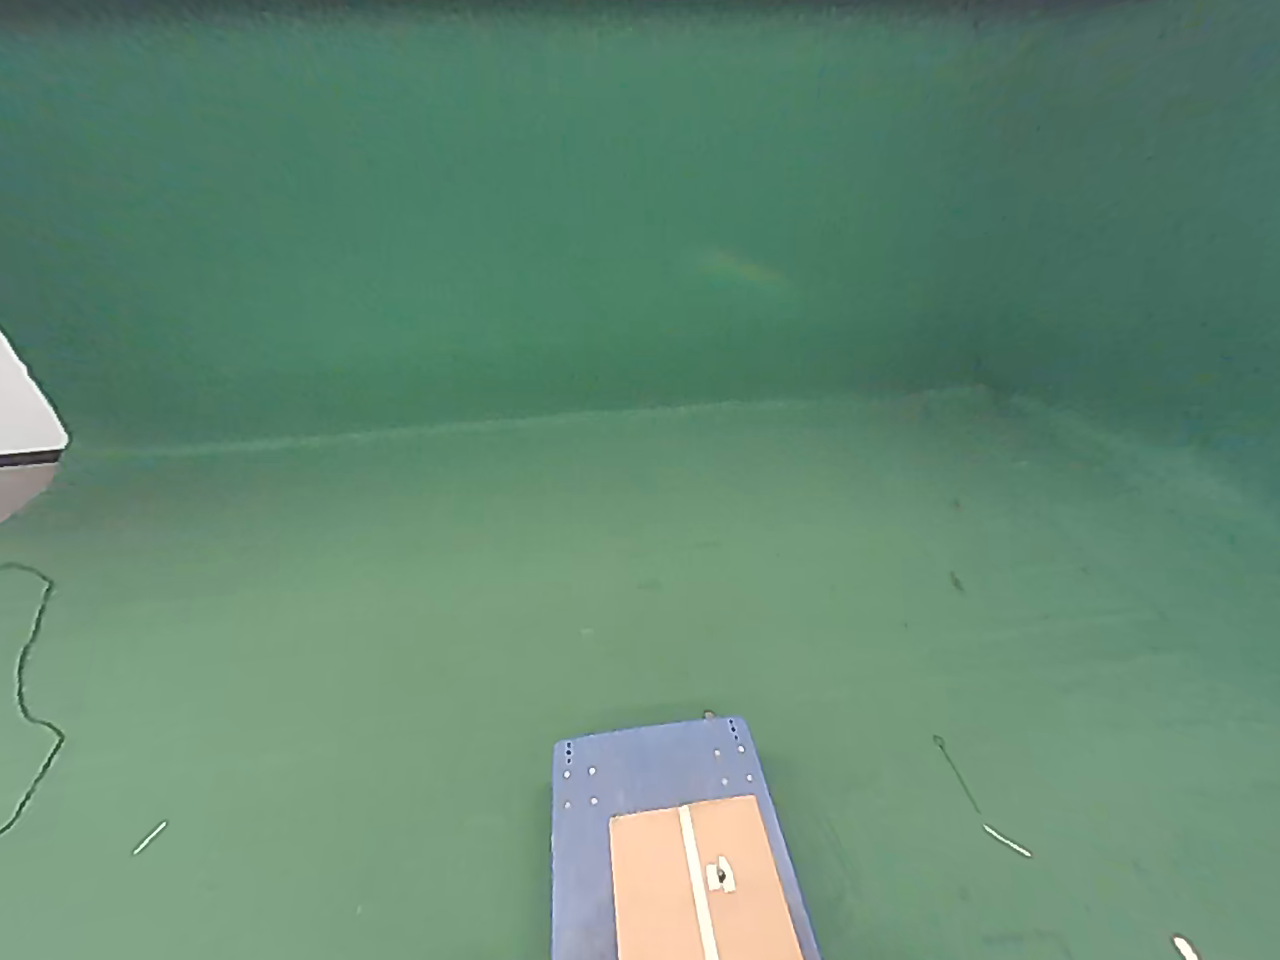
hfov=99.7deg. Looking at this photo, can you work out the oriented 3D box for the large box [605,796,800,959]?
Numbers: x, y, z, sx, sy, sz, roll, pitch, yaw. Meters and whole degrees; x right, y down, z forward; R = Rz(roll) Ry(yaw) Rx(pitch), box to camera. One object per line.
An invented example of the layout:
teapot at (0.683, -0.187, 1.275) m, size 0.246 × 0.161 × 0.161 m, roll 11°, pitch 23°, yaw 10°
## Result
large box at (0.114, 0.915, 1.042) m, size 0.320 × 0.320 × 0.408 m, roll -5°, pitch 32°, yaw -6°
